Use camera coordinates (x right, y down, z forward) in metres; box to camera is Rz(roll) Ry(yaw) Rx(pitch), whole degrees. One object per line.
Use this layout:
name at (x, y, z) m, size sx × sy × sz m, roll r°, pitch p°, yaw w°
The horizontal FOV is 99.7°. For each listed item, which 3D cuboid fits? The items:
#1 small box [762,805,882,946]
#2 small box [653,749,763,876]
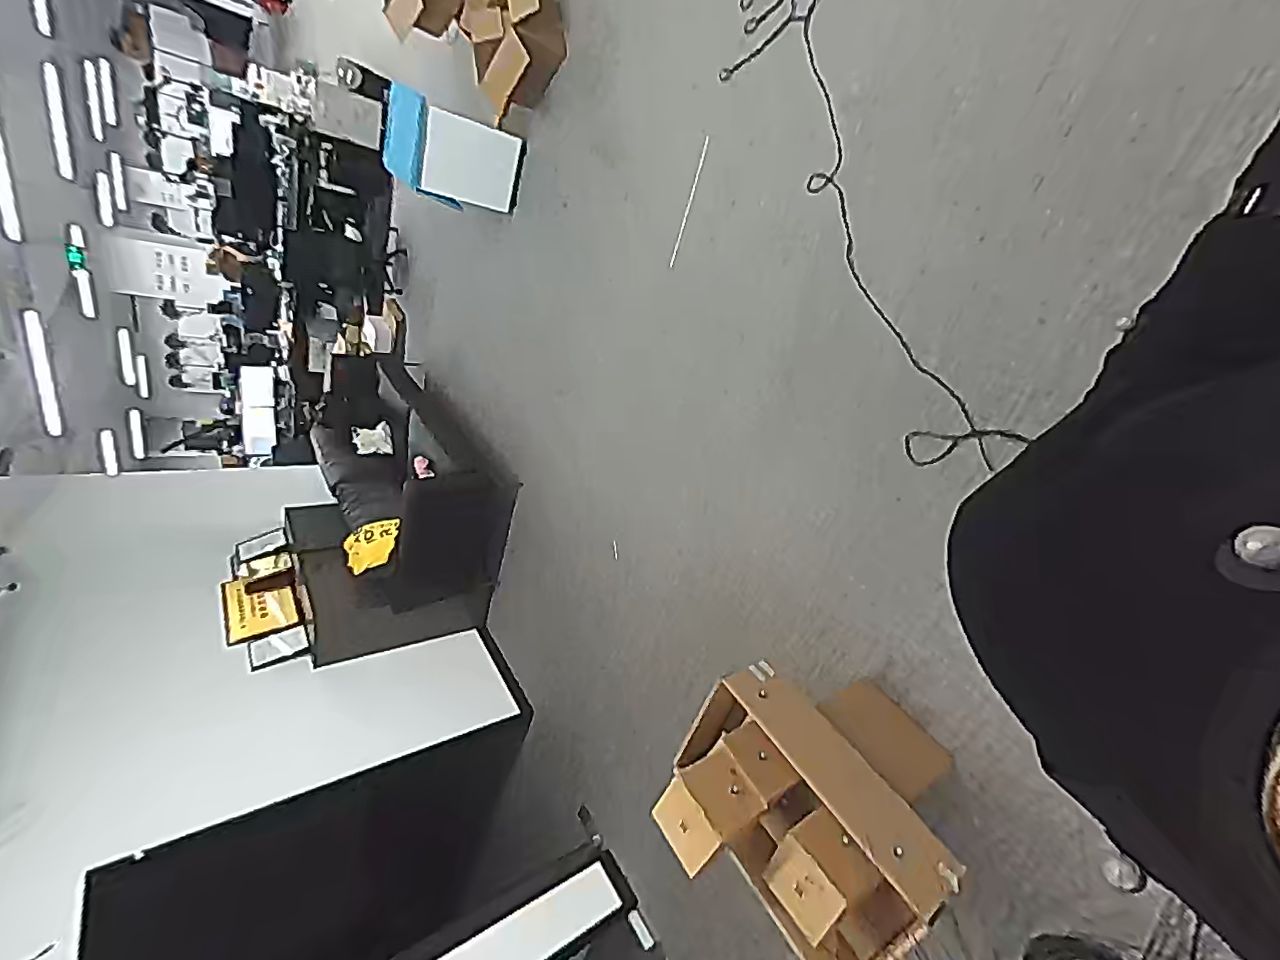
small box at (0.418, 0.896, 1.238) m, size 0.168 × 0.176 × 0.179 m, roll 40°, pitch 122°, yaw 42°
small box at (0.164, 0.785, 1.290) m, size 0.168 × 0.176 × 0.179 m, roll 46°, pitch 127°, yaw 38°
